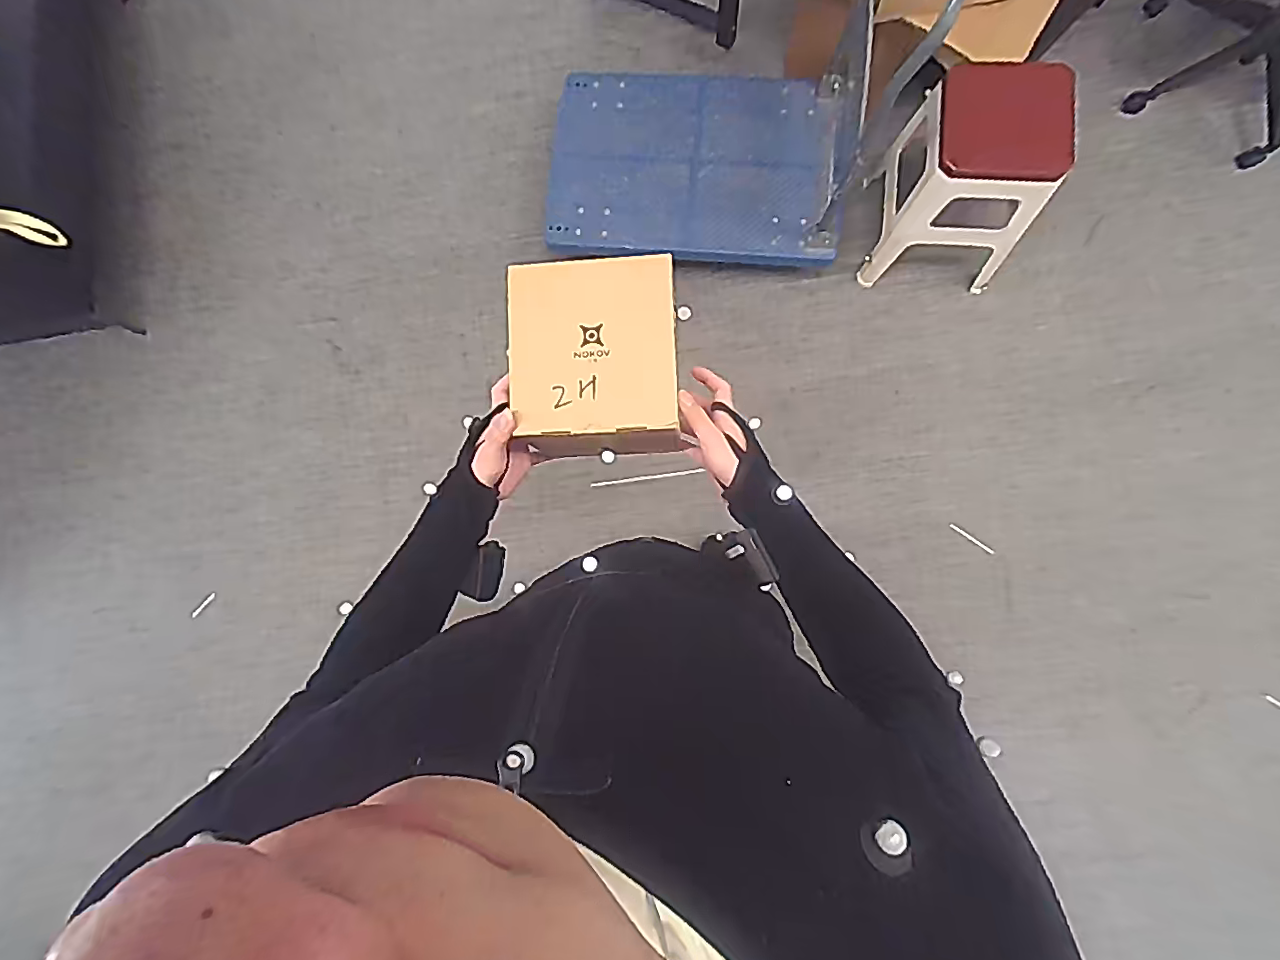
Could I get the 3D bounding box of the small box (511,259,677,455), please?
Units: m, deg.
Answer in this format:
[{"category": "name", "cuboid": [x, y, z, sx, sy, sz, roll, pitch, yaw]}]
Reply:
[{"category": "small box", "cuboid": [-0.042, -0.127, 0.618, 0.168, 0.176, 0.179, -2, 85, 4]}]
